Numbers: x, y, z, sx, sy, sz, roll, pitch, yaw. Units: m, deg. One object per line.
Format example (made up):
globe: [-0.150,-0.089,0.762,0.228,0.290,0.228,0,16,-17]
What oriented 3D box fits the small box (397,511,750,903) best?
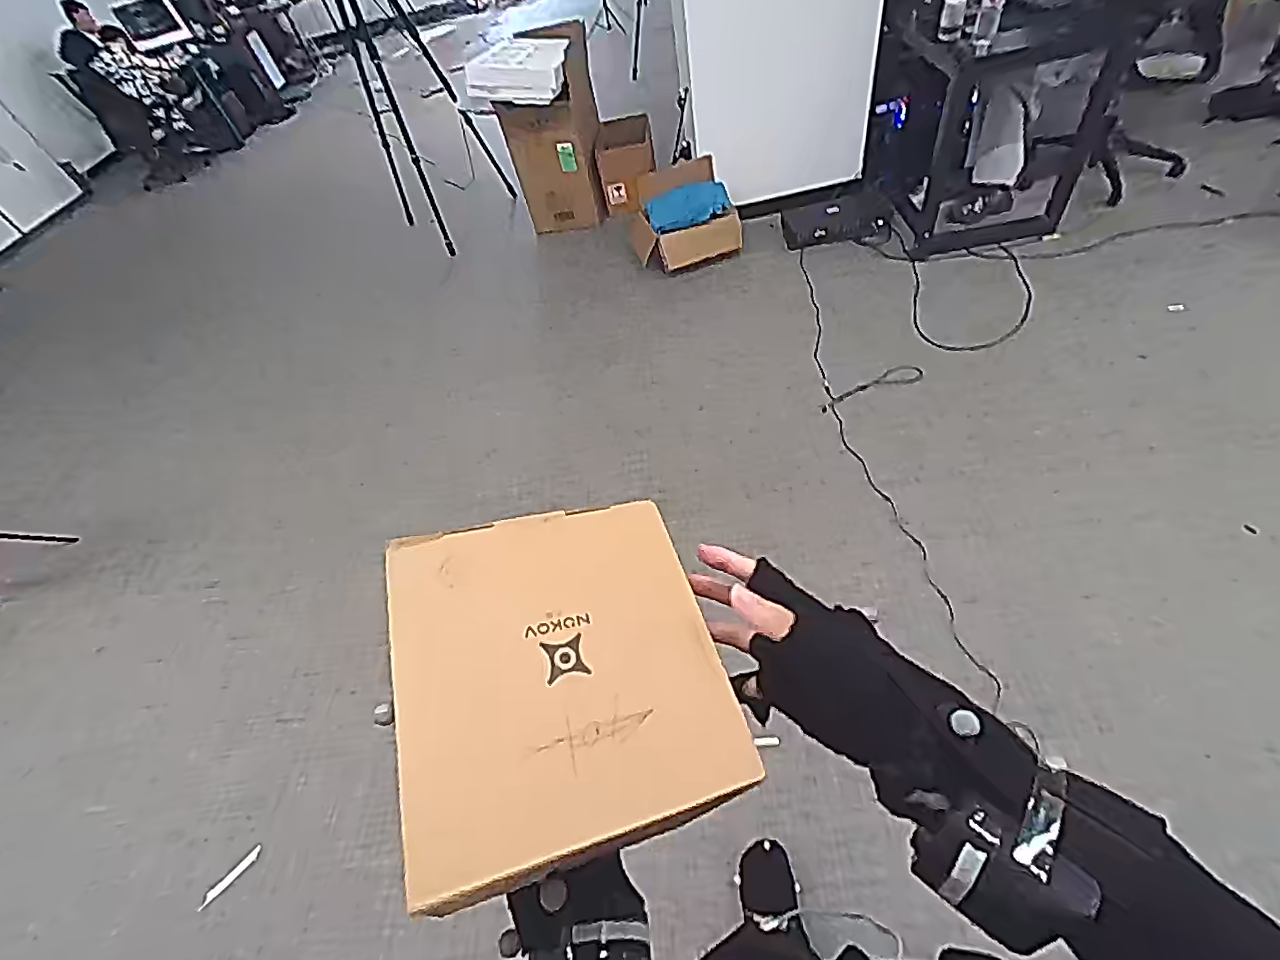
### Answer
small box: [-0.059,0.147,0.360,0.168,0.176,0.179,-8,54,-20]
